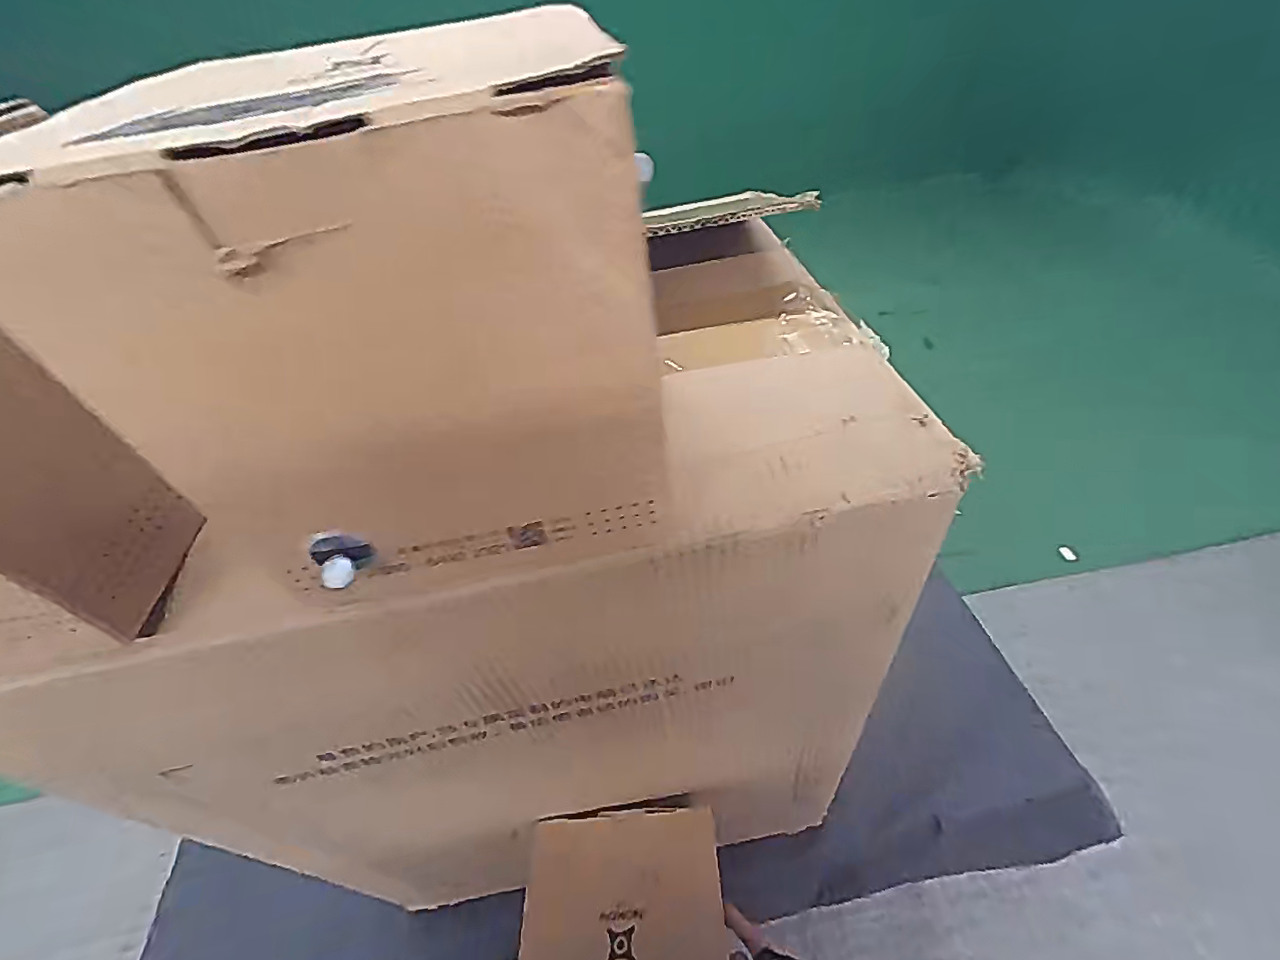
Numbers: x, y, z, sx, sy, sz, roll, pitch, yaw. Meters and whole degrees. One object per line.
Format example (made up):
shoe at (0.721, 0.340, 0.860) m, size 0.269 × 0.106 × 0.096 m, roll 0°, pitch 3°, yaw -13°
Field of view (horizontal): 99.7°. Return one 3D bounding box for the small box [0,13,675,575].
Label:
small box at (-0.084, -0.076, 0.238) m, size 0.168 × 0.176 × 0.179 m, roll -12°, pitch 44°, yaw -3°
